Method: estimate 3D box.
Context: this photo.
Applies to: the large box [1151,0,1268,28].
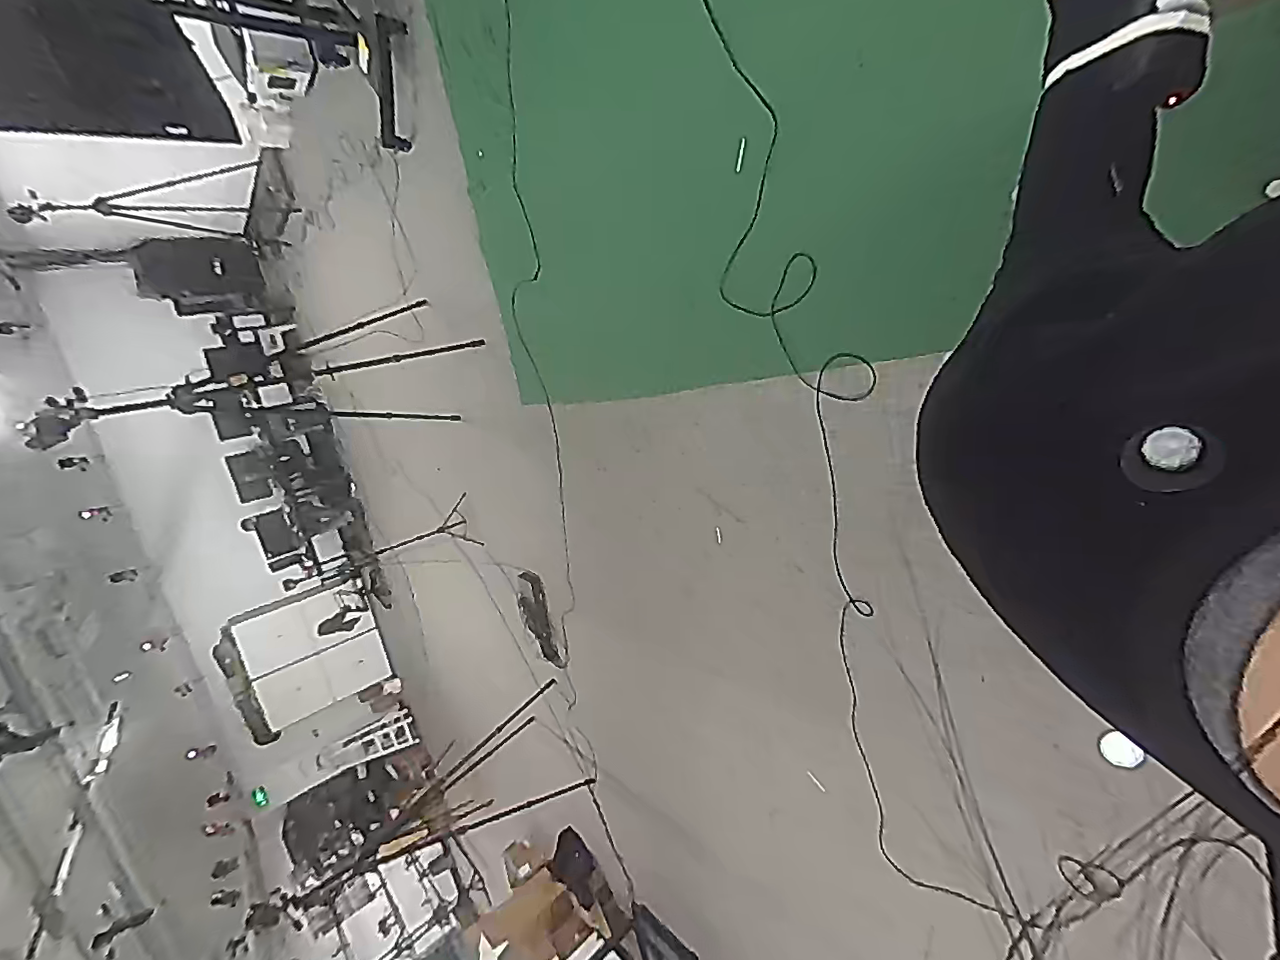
[{"bbox_3d":[0.569,-0.530,0.287,0.408,0.320,0.320,8,119,46],"label":"large box"}]
